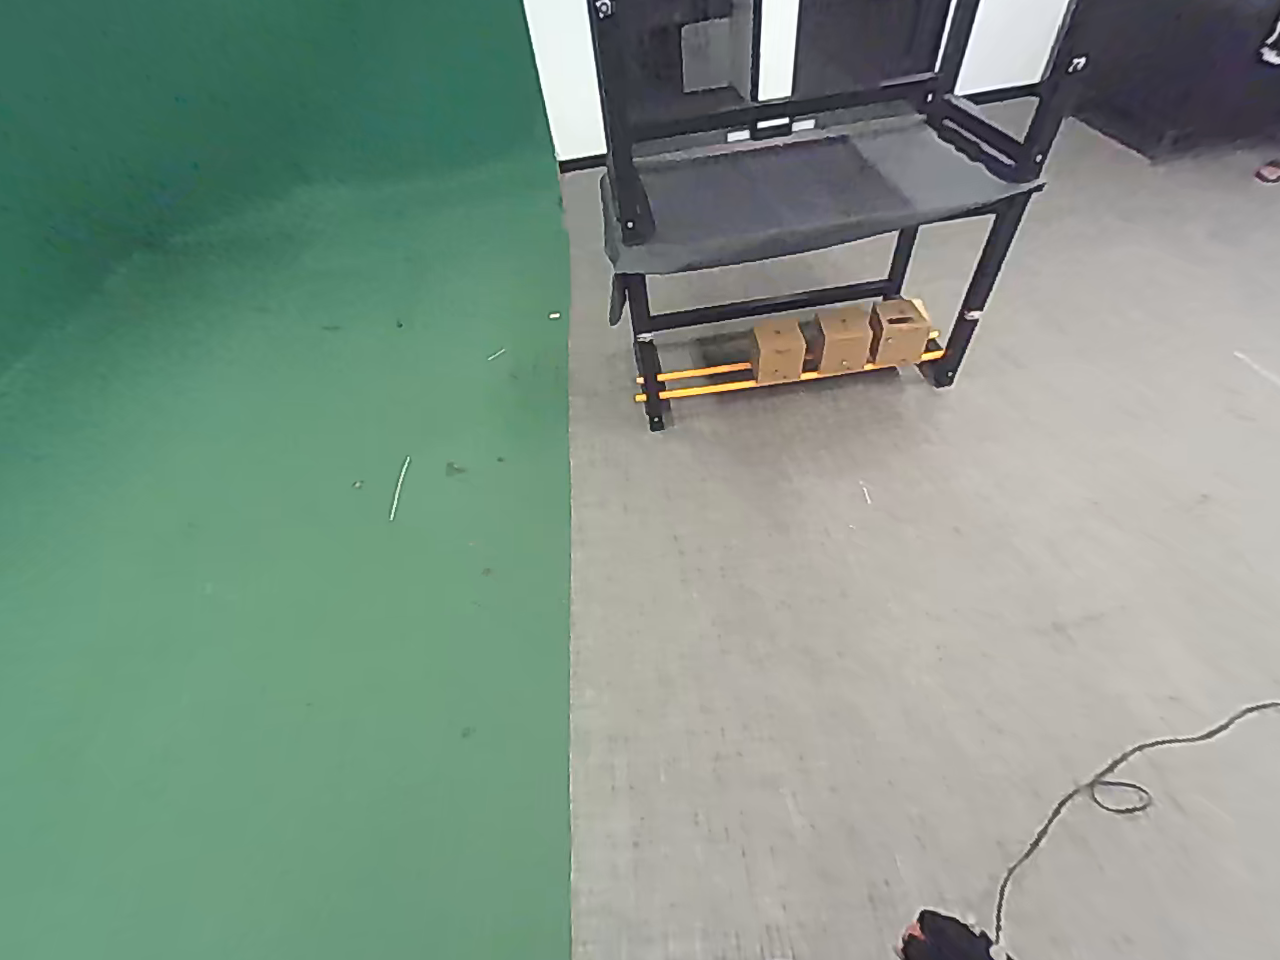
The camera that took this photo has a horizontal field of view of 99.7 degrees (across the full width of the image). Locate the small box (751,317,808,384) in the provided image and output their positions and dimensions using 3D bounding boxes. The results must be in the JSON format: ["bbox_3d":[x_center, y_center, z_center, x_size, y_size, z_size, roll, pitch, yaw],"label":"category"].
[{"bbox_3d":[0.518,-0.485,2.032,0.168,0.176,0.179,-7,52,2],"label":"small box"}]
